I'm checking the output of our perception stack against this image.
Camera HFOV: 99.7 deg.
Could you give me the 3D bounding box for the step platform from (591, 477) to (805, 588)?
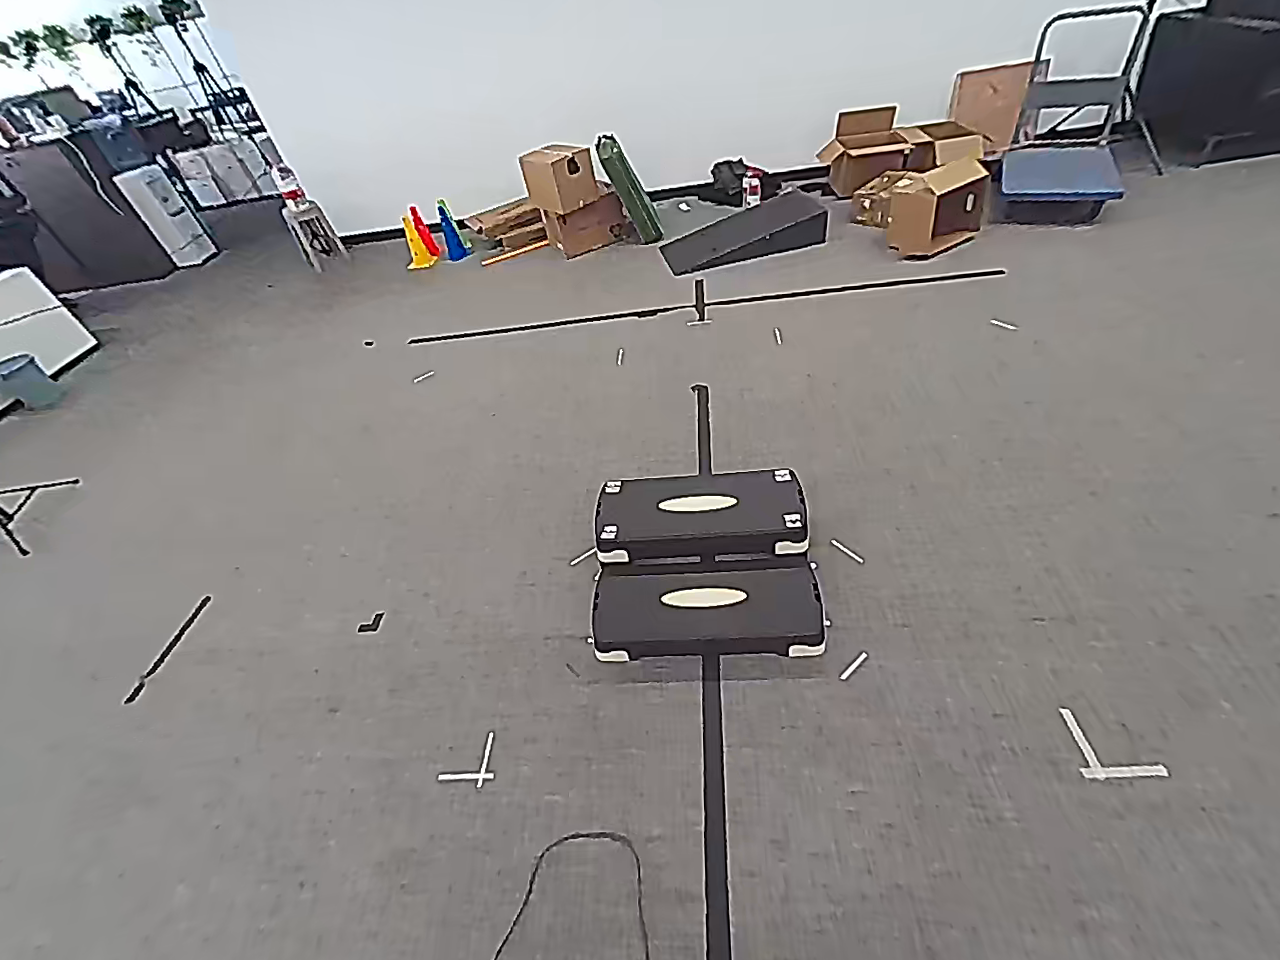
[{"bbox_3d":[0.182,0.168,1.770,0.684,0.204,0.286,-4,44,7],"label":"step platform"}]
